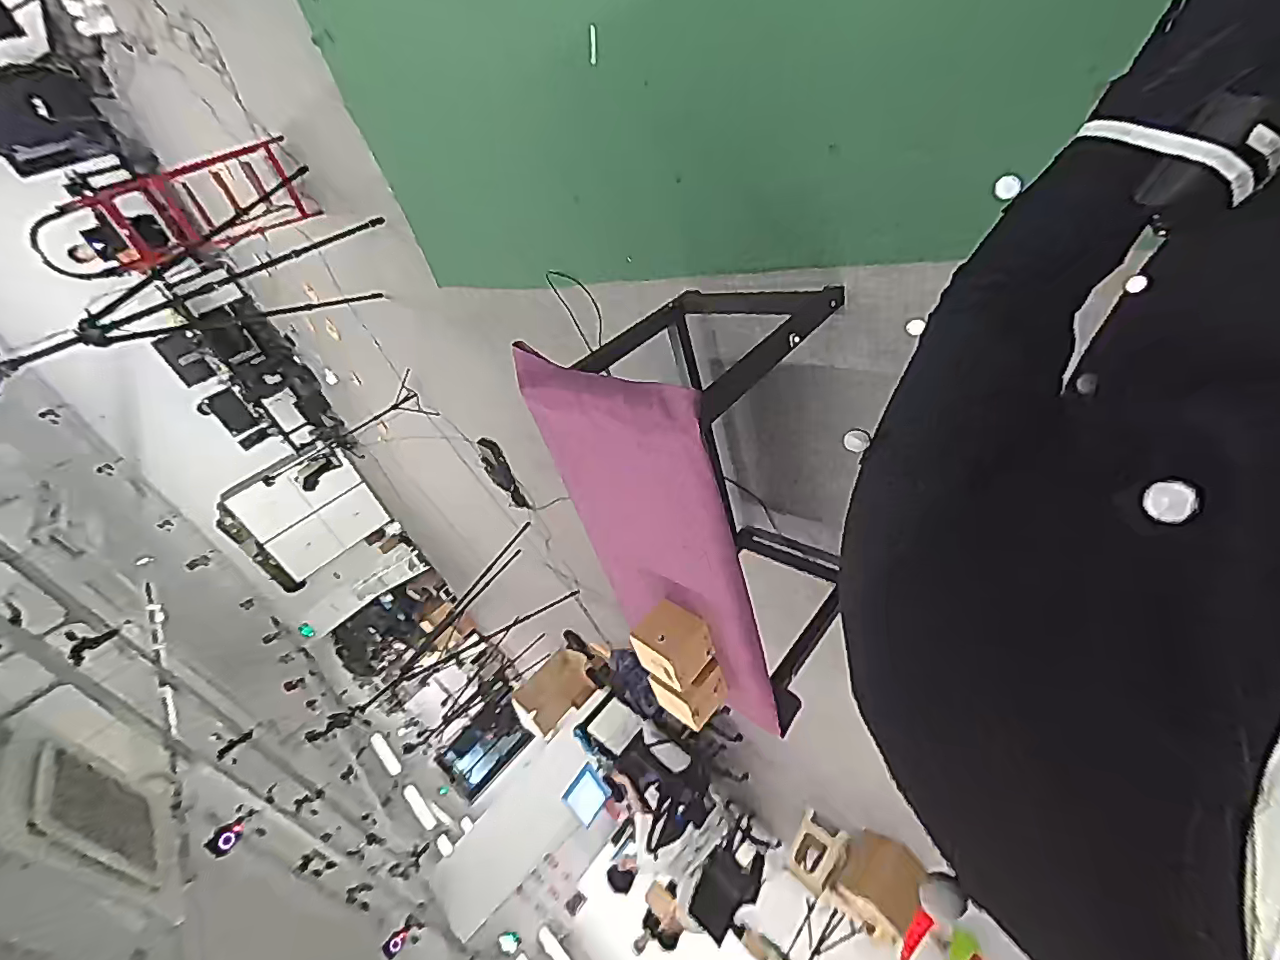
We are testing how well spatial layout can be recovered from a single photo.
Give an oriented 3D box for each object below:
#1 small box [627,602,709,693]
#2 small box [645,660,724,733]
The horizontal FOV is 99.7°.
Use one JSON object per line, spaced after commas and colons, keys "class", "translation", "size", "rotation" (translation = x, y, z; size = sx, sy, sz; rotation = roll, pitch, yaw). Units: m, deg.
{"class": "small box", "translation": [0.093, 0.502, 1.649], "size": [0.179, 0.176, 0.168], "rotation": [21, 140, 42]}
{"class": "small box", "translation": [0.150, 0.677, 1.771], "size": [0.179, 0.176, 0.168], "rotation": [19, 139, 43]}
